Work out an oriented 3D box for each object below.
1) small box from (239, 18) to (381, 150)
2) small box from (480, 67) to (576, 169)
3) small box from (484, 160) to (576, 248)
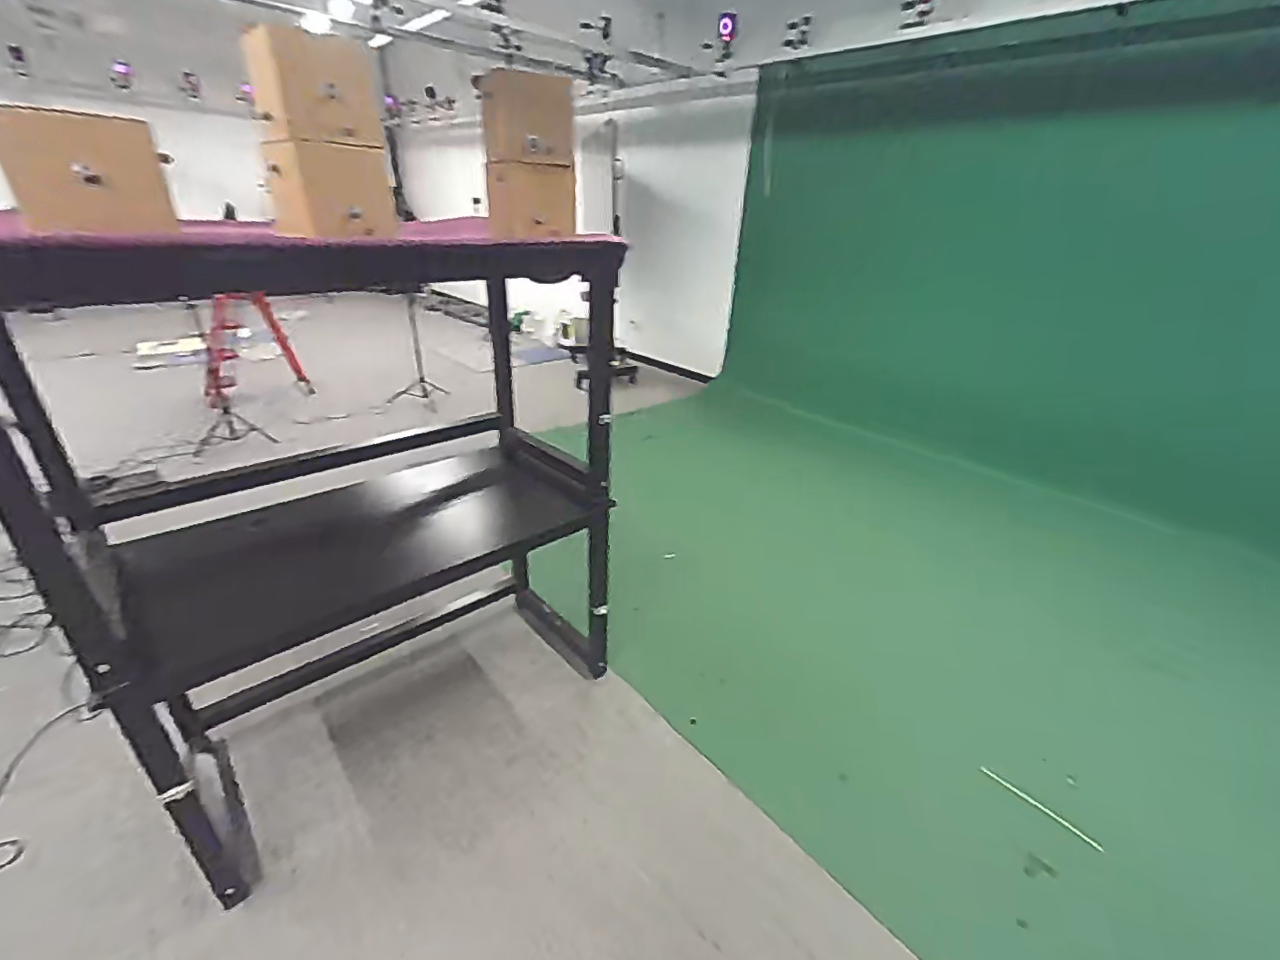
[{"bbox_3d":[-0.598,-0.709,0.991,0.168,0.176,0.179,-22,36,-40],"label":"small box"},{"bbox_3d":[-0.250,-0.794,1.203,0.168,0.176,0.179,-13,33,-25],"label":"small box"},{"bbox_3d":[-0.263,-0.653,1.283,0.168,0.176,0.179,-14,33,-29],"label":"small box"}]
